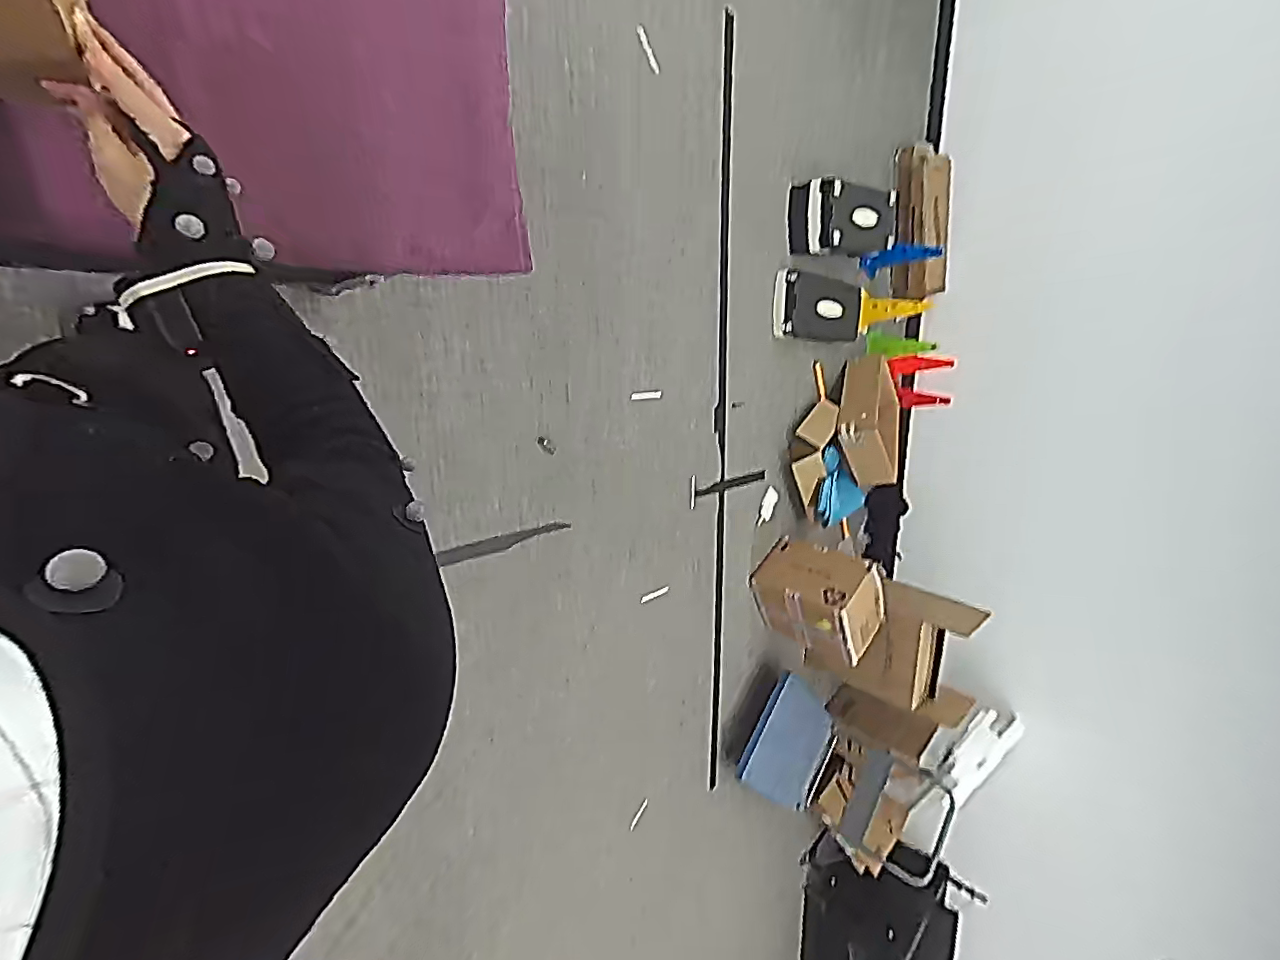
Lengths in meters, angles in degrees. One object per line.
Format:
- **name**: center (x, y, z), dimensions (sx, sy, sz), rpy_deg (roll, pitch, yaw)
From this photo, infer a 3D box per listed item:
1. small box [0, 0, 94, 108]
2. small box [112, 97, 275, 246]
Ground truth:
- **small box**: center (-0.433, -0.345, 0.283), dimensions (0.168, 0.179, 0.176), rpy_deg (-10, 100, -36)
- **small box**: center (-0.732, -0.489, 0.890), dimensions (0.179, 0.176, 0.168), rpy_deg (-14, 110, -42)
